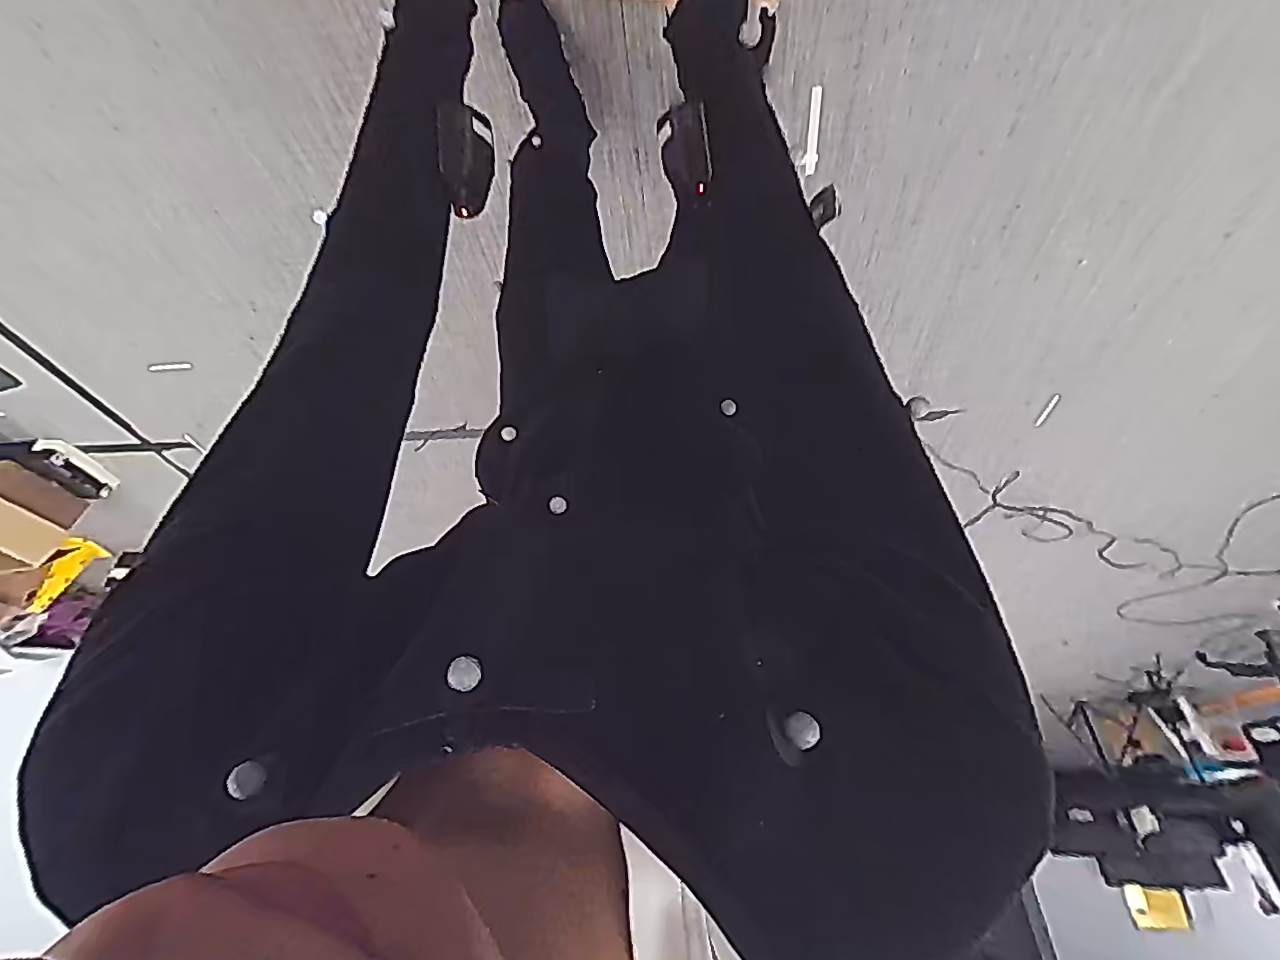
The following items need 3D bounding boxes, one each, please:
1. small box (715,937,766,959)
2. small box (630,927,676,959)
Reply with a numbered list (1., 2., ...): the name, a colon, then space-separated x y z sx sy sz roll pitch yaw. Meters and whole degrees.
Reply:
1. small box: 0.344 1.657 1.822 0.168 0.176 0.179 -6 144 9
2. small box: 0.051 1.848 2.096 0.168 0.176 0.179 -3 143 7
